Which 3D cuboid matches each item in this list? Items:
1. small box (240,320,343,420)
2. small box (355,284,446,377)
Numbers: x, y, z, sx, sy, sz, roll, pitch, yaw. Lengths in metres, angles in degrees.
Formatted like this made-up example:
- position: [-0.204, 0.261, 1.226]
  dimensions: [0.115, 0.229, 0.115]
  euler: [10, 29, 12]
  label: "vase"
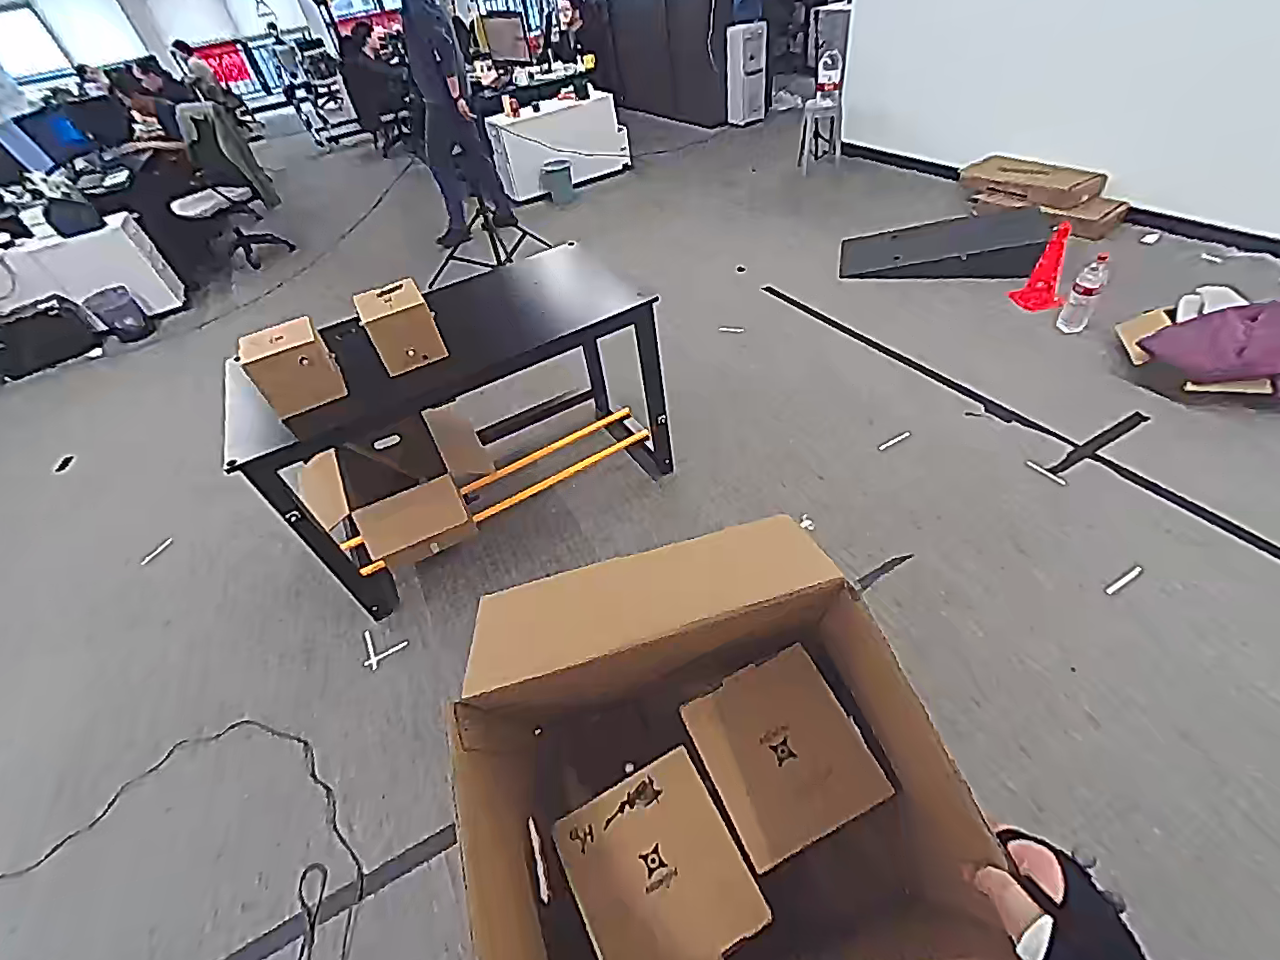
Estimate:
- position: [-0.903, -0.287, 1.416]
  dimensions: [0.179, 0.176, 0.168]
  euler: [-27, 46, -17]
  label: "small box"
- position: [-0.662, -0.413, 1.502]
  dimensions: [0.168, 0.176, 0.179]
  euler: [-26, 47, -15]
  label: "small box"
